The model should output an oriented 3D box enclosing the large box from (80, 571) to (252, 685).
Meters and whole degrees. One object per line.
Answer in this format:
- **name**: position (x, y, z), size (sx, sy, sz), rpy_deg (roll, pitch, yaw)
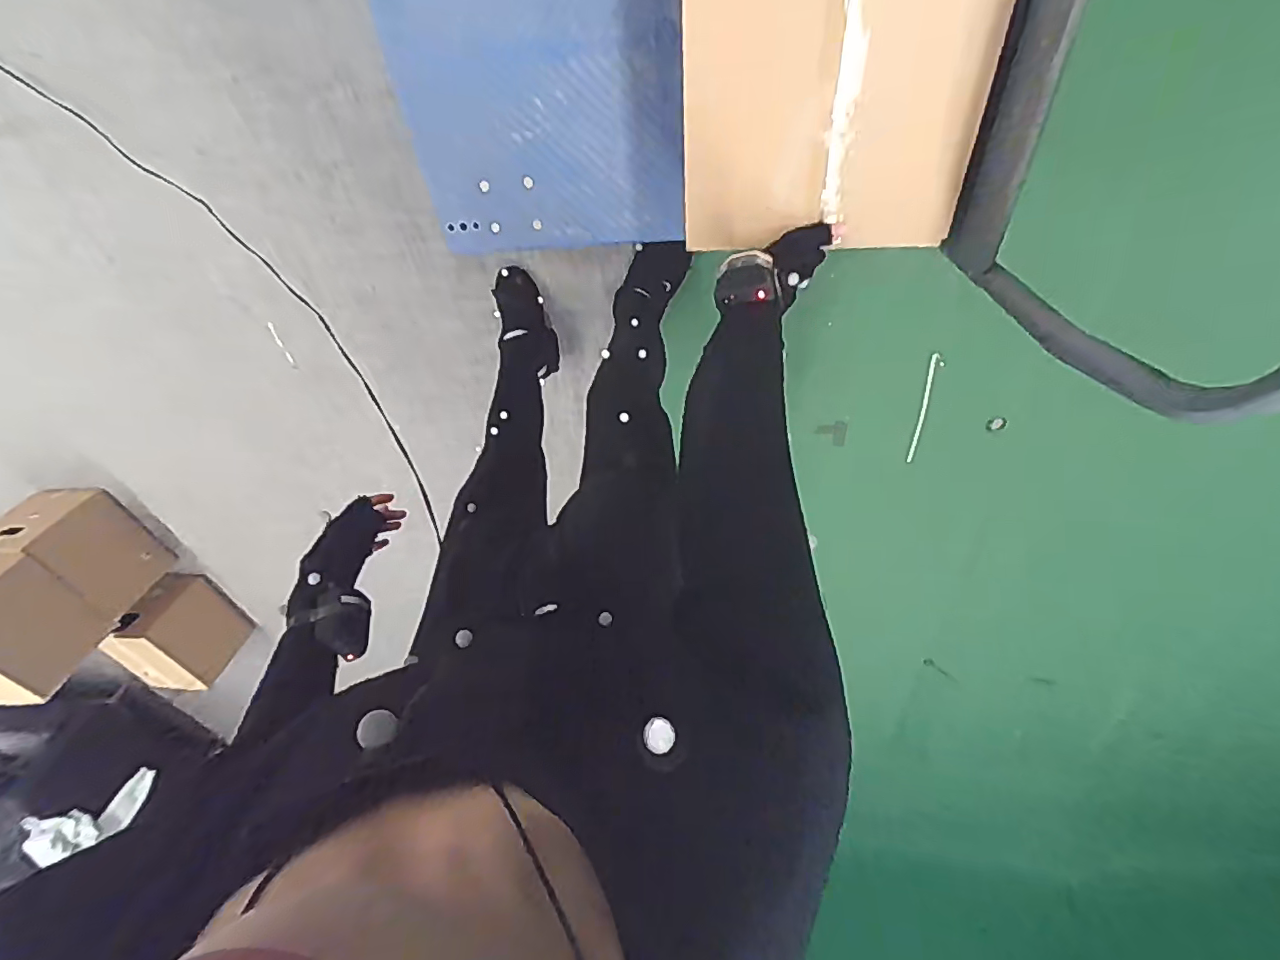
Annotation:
- **large box**: position (-2.008, 0.635, 2.329), size (0.320, 0.320, 0.408), rpy_deg (0, 132, 11)
